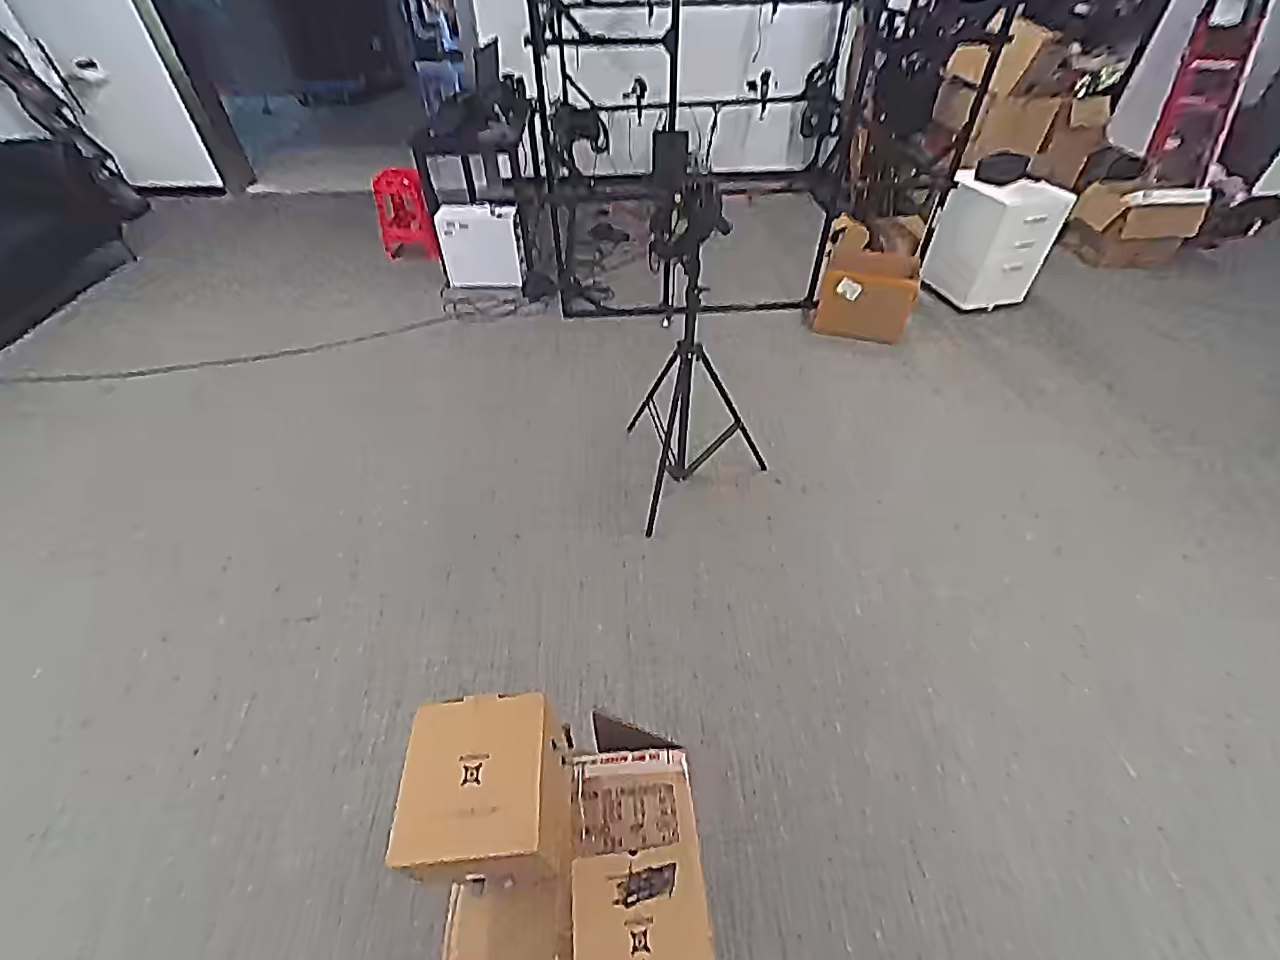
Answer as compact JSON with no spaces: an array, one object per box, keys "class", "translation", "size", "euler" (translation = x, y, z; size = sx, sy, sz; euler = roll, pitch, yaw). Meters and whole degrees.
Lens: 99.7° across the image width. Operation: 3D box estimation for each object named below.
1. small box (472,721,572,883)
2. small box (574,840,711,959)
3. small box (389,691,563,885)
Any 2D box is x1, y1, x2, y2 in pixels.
[{"class":"small box","translation":[-0.197,0.493,0.827],"size":[0.168,0.176,0.179],"euler":[-5,47,-2]},{"class":"small box","translation":[-0.001,0.605,0.718],"size":[0.168,0.176,0.179],"euler":[-4,47,-4]},{"class":"small box","translation":[-0.193,0.396,0.695],"size":[0.168,0.176,0.179],"euler":[-5,48,-2]}]
